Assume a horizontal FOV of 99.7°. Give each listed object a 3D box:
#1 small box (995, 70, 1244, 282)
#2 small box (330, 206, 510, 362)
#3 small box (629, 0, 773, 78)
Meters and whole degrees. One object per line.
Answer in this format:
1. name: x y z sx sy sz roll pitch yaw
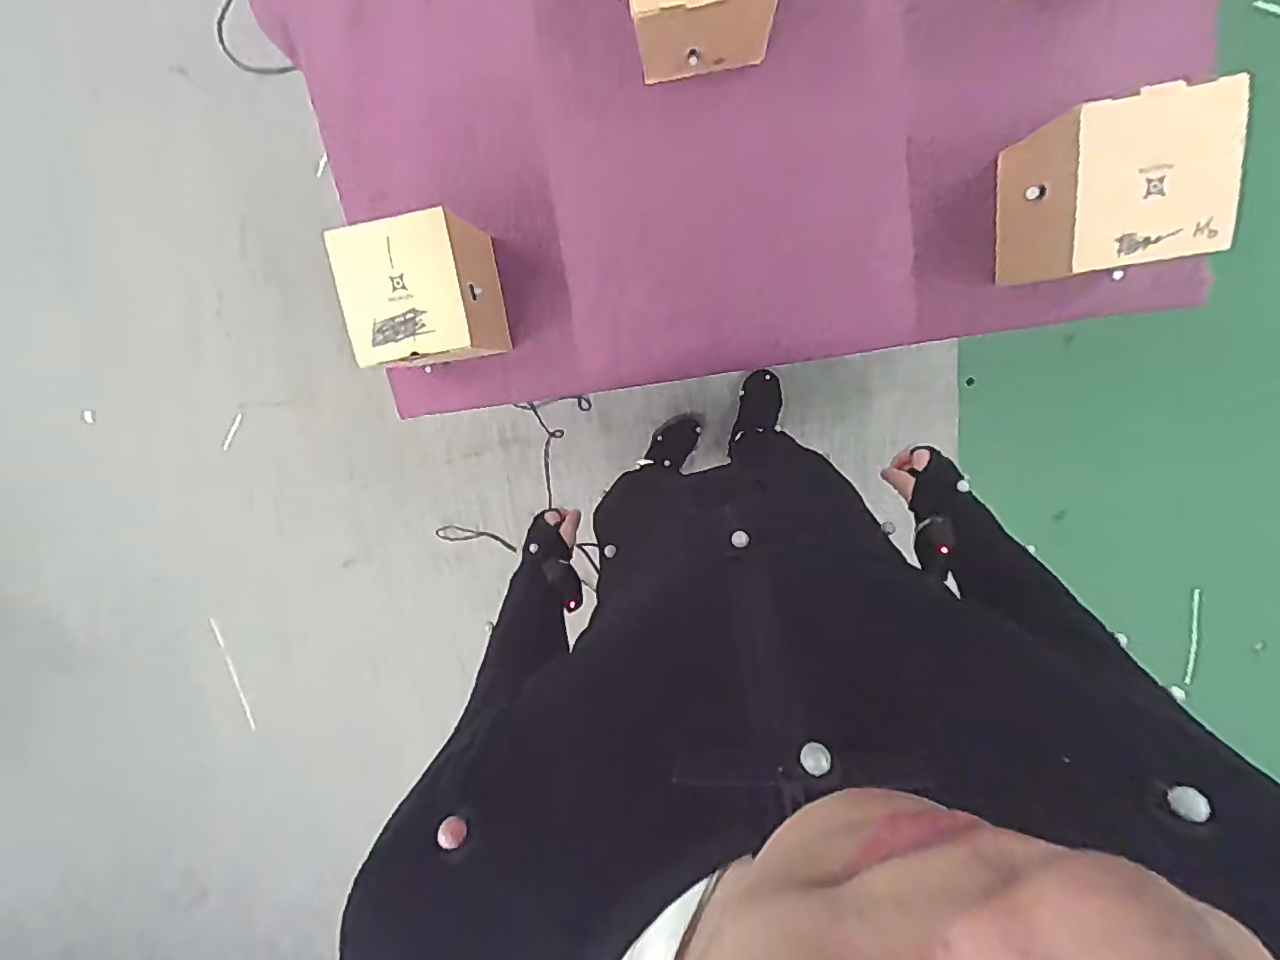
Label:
1. small box: 0.567 -0.354 0.667 0.168 0.176 0.179 -6 104 10
2. small box: -0.306 -0.275 0.793 0.168 0.176 0.179 -7 102 8
3. small box: 0.067 -0.637 0.658 0.168 0.176 0.179 -6 106 8
